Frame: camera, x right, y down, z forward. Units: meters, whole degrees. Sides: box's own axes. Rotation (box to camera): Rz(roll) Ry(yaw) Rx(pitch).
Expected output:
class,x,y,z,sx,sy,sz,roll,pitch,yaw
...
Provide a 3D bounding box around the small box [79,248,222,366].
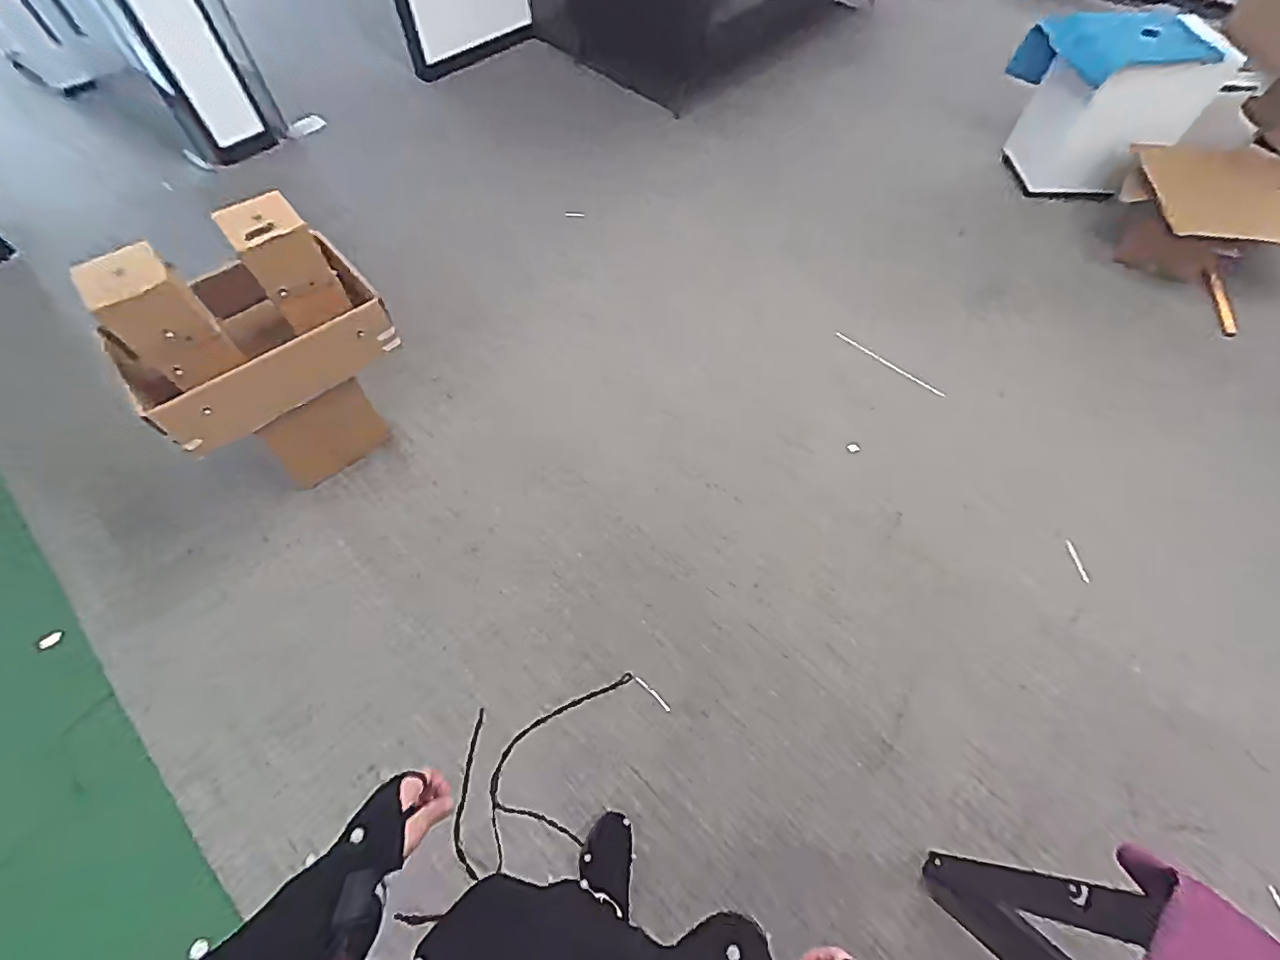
class,x,y,z,sx,sy,sz,roll,pitch,yaw
small box,-1.151,-0.405,1.281,0.168,0.176,0.179,-36,67,-18

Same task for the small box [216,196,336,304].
class,x,y,z,sx,sy,sz,roll,pitch,yaw
small box,-0.922,-0.580,1.386,0.168,0.176,0.179,-36,67,-20

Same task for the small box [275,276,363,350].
class,x,y,z,sx,sy,sz,roll,pitch,yaw
small box,-0.928,-0.504,1.532,0.168,0.176,0.179,-38,68,-20
